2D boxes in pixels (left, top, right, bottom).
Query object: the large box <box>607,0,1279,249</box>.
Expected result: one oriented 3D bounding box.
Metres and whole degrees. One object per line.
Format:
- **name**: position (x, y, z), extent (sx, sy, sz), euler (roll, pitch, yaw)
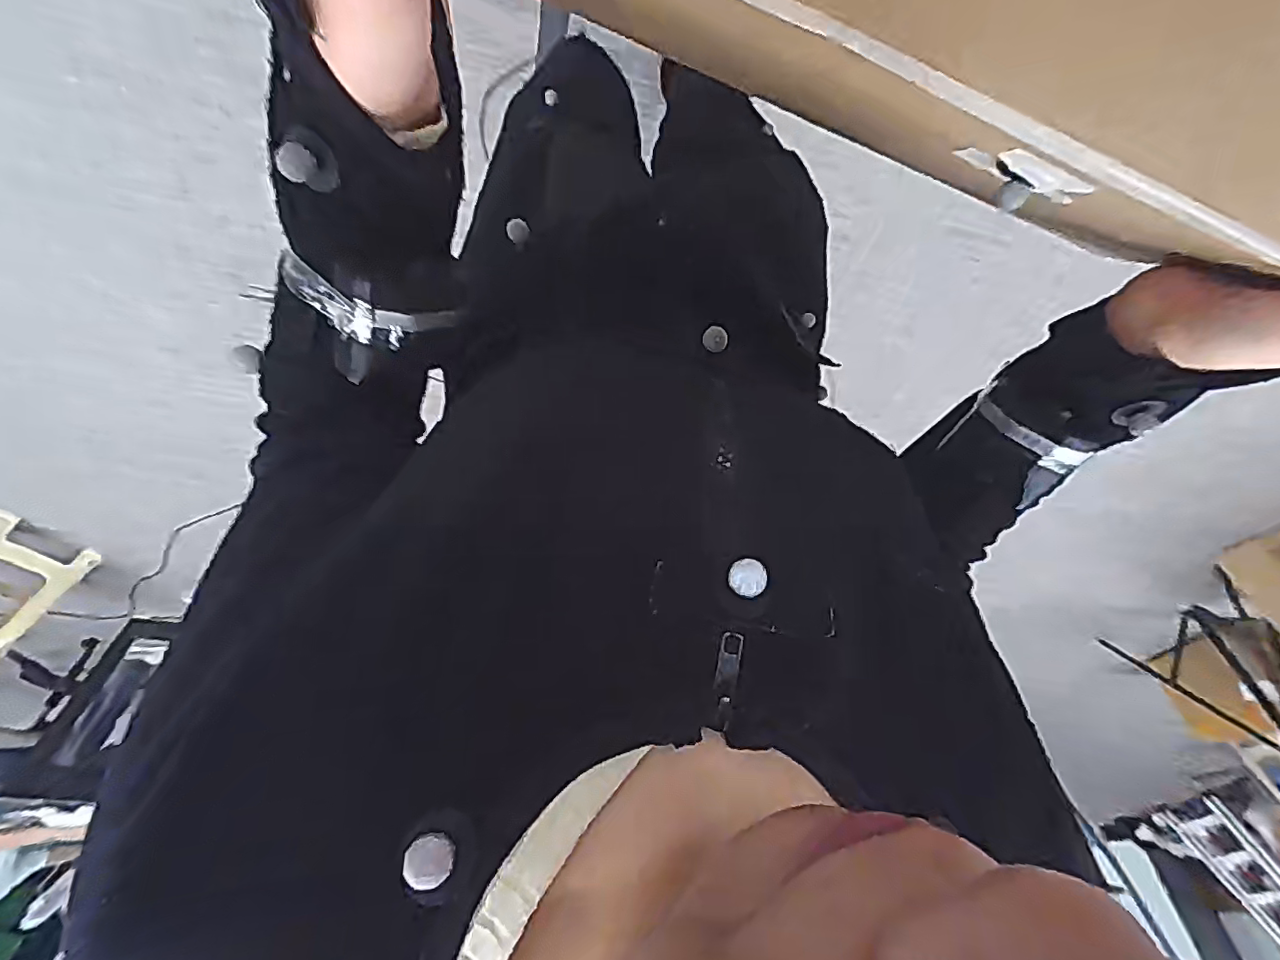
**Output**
- **large box**: position (0.157, -0.269, 0.102), extent (0.408, 0.320, 0.320), euler (17, 118, -9)
